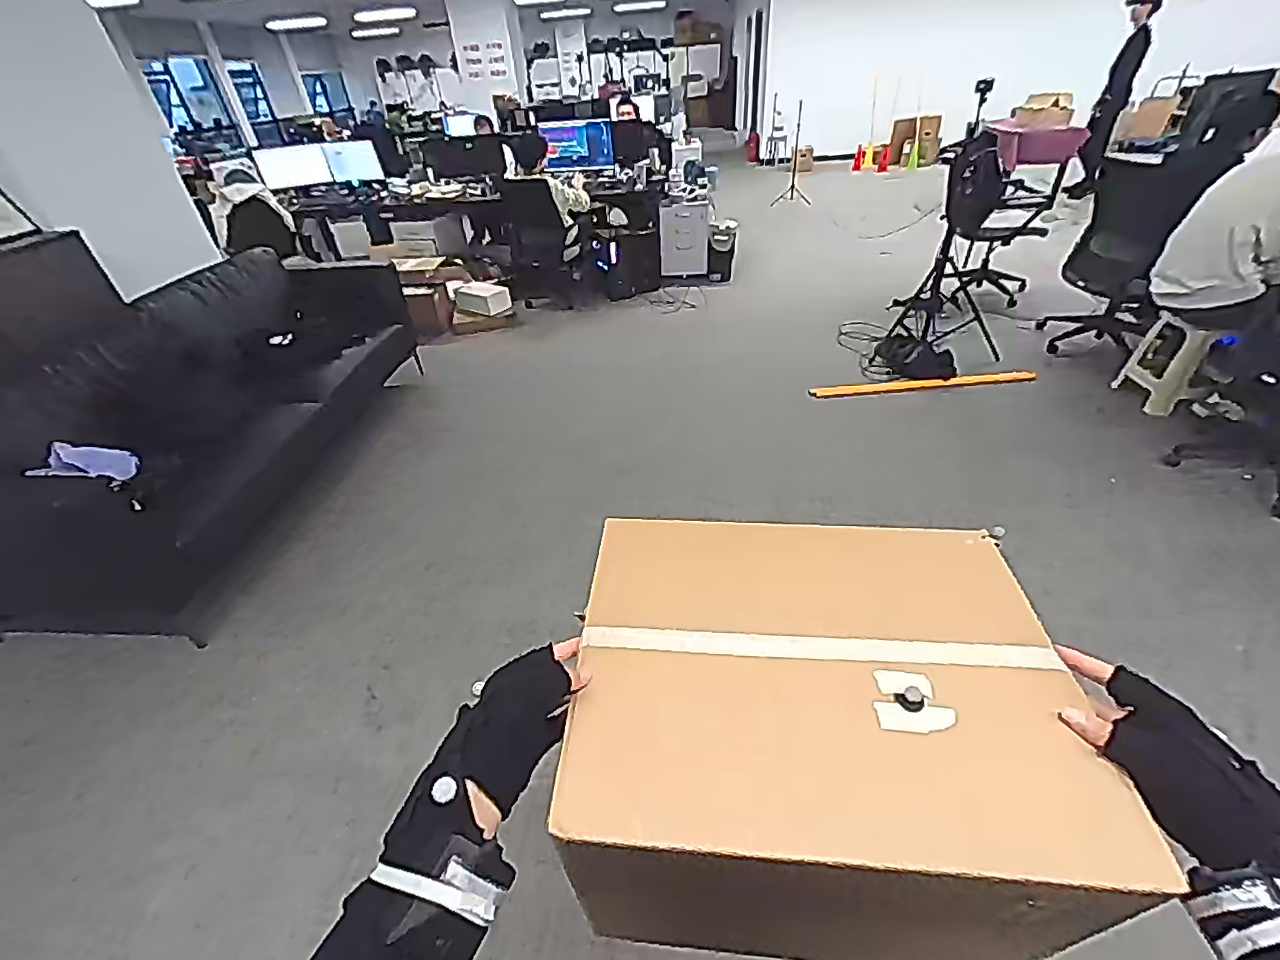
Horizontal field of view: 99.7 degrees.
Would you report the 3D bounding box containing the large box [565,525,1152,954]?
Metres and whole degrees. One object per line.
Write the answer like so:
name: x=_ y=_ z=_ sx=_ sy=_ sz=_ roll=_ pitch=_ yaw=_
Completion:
large box: x=0.157 y=0.264 z=0.577 sx=0.408 sy=0.320 sz=0.320 roll=1 pitch=41 yaw=5
